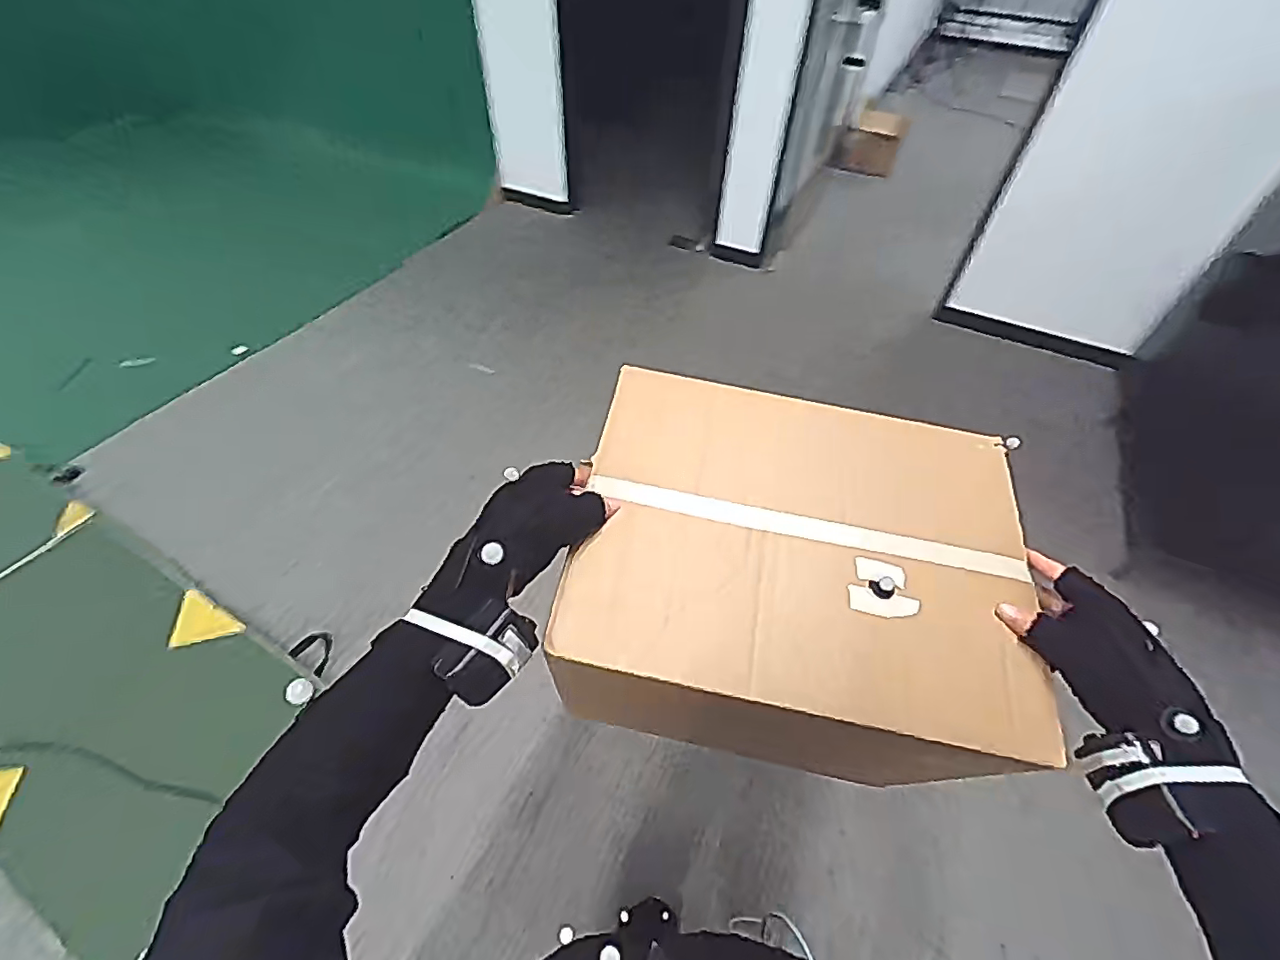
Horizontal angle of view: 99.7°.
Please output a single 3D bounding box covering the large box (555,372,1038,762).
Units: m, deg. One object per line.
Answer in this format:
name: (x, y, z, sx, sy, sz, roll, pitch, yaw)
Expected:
large box: (0.133, 0.118, 0.636, 0.408, 0.320, 0.320, 11, 59, 1)
